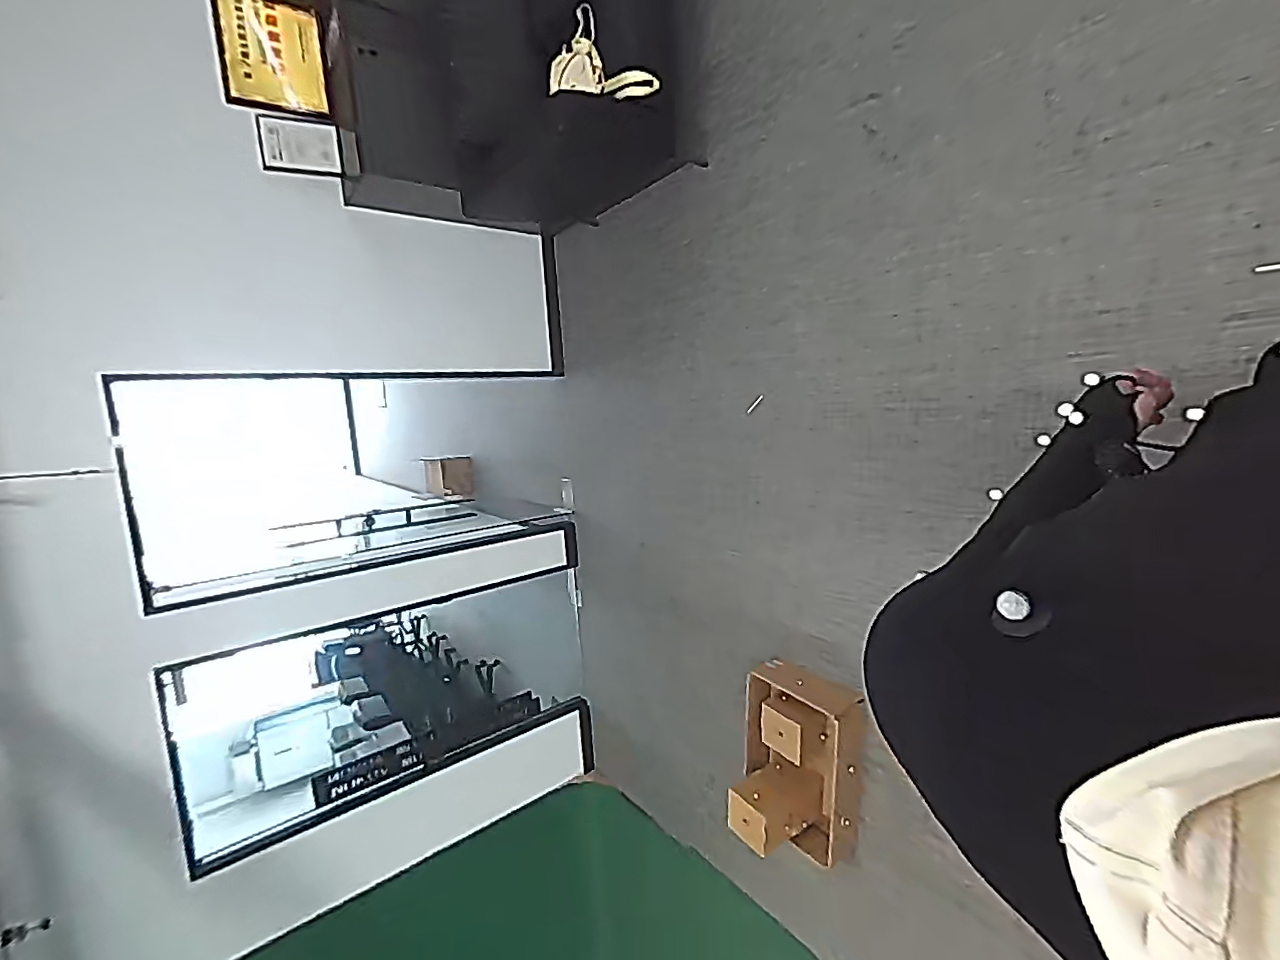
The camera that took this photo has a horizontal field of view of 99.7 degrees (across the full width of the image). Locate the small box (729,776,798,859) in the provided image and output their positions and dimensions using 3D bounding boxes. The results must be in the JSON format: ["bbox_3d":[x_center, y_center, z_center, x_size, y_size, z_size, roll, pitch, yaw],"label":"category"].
[{"bbox_3d":[0.448,1.212,1.962,0.179,0.176,0.168,14,107,52],"label":"small box"}]

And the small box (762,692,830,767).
[{"bbox_3d":[0.576,0.912,2.000,0.179,0.176,0.168,13,108,51],"label":"small box"}]
